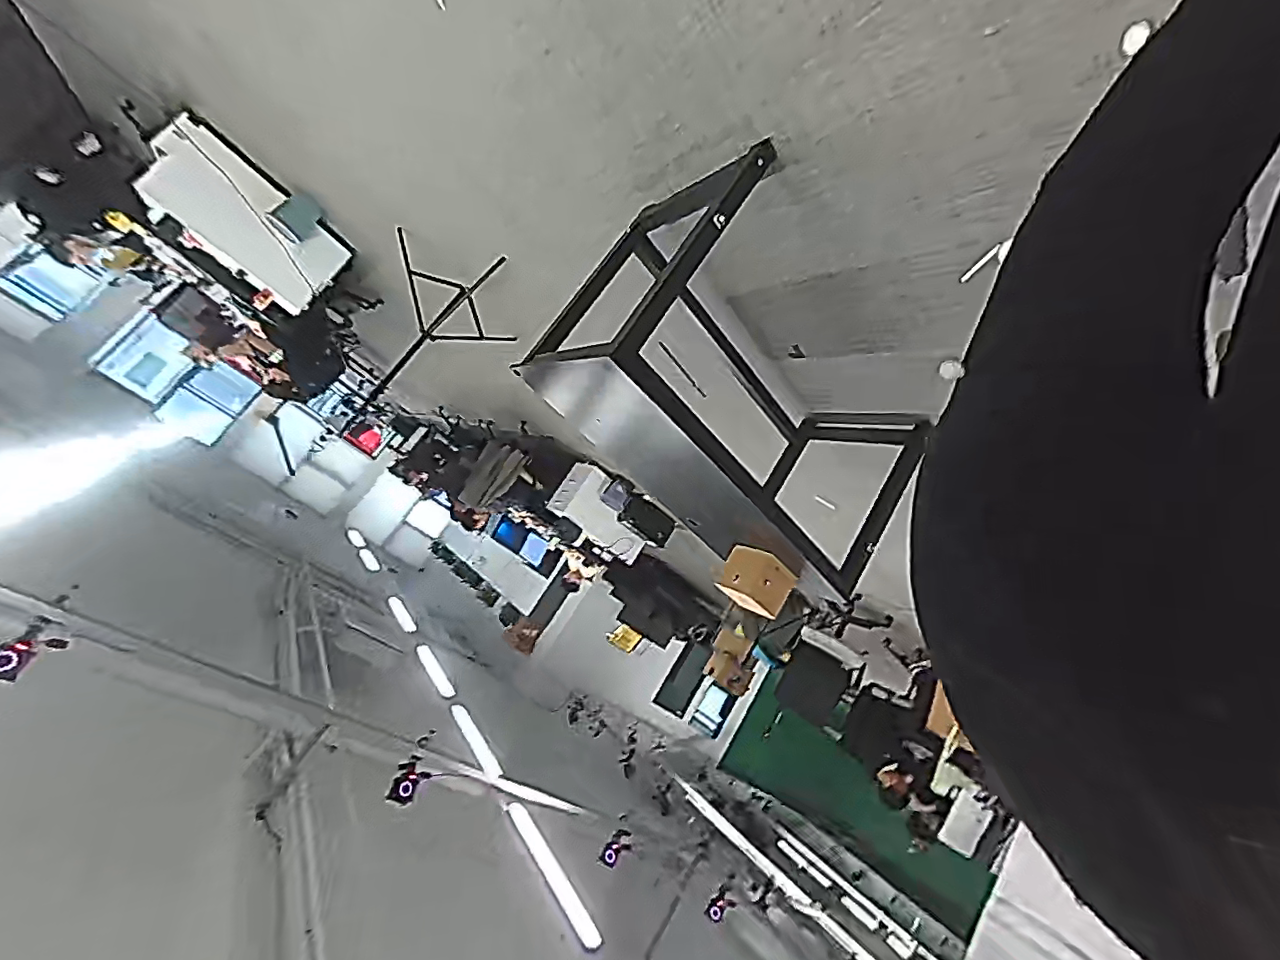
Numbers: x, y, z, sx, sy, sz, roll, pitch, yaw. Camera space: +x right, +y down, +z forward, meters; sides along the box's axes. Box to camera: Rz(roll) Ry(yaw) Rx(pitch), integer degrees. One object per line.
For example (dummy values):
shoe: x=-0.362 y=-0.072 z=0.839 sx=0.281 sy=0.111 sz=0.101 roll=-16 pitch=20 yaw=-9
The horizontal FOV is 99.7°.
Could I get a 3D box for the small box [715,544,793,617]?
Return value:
small box: x=0.399 y=0.337 z=1.852 sx=0.168 sy=0.176 sz=0.179 roll=41 pitch=165 yaw=-26
